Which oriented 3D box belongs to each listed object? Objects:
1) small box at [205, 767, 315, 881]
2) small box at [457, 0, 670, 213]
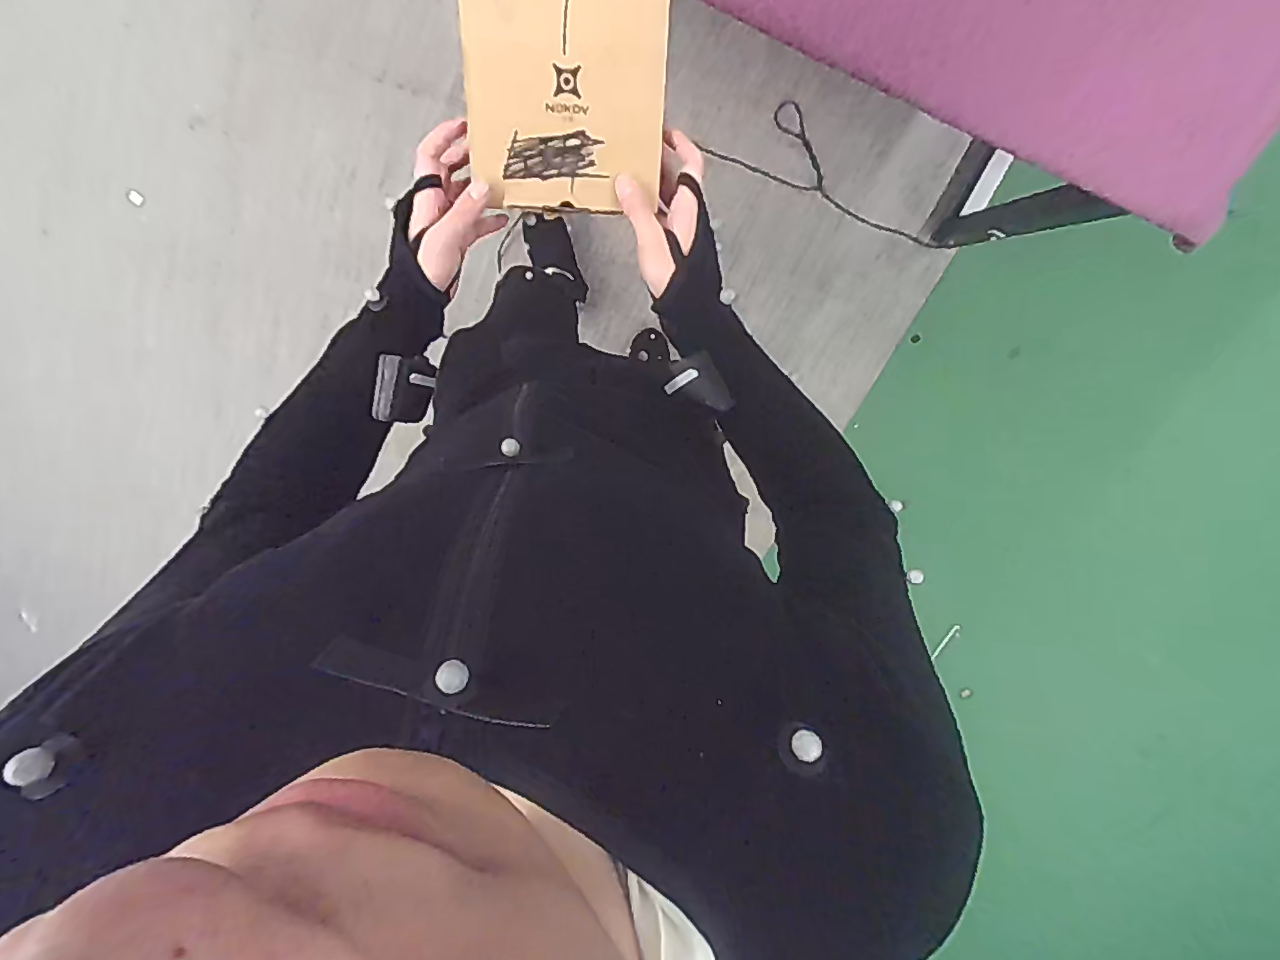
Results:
[{"bbox_3d":[-1.054,0.957,1.514,0.168,0.176,0.179,31,107,-6],"label":"small box"},{"bbox_3d":[-0.065,-0.354,0.510,0.168,0.176,0.179,2,114,-5],"label":"small box"}]
